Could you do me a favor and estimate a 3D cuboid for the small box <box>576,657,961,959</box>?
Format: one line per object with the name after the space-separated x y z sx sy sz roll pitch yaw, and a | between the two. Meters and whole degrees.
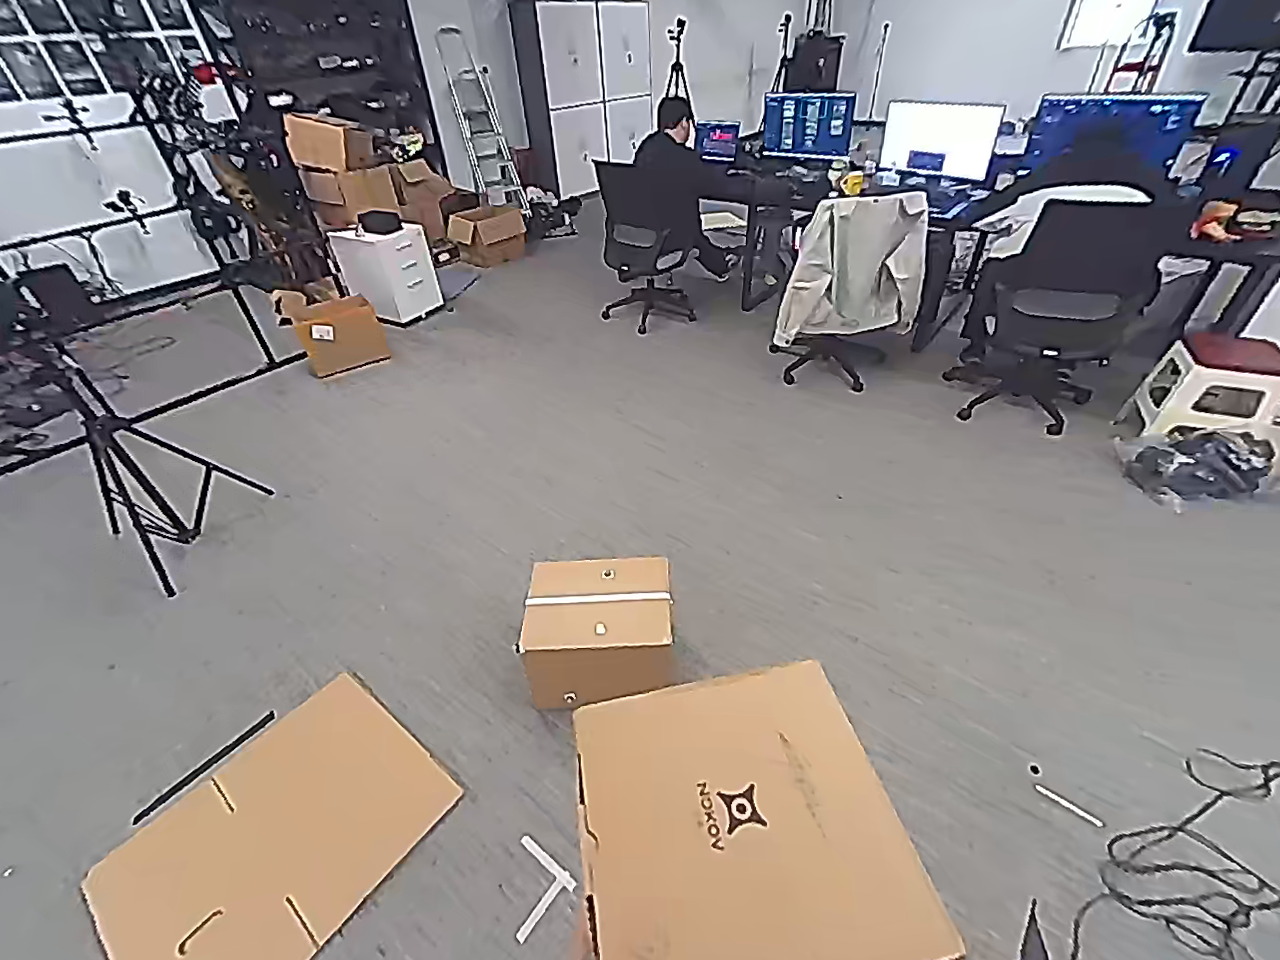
0.062 0.250 0.358 0.179 0.176 0.168 -9 39 -7 | small box
